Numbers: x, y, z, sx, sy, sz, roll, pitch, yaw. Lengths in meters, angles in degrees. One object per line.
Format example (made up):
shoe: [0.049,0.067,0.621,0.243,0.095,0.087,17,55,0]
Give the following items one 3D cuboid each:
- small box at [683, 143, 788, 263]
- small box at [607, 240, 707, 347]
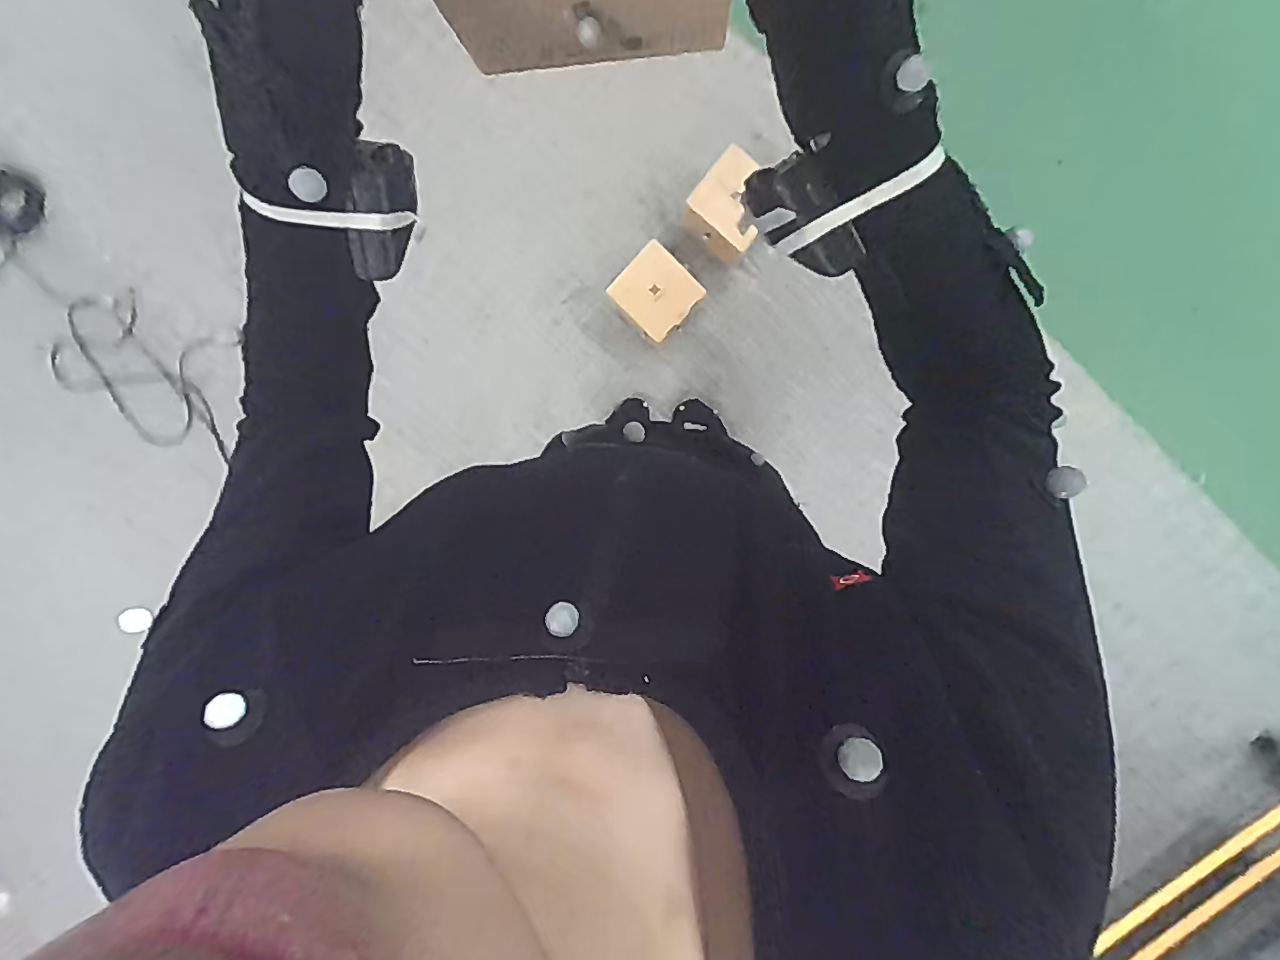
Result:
small box: [0.219,-0.641,1.284,0.179,0.176,0.168,40,98,-3]
small box: [0.040,-0.444,1.324,0.179,0.176,0.168,43,98,-4]
